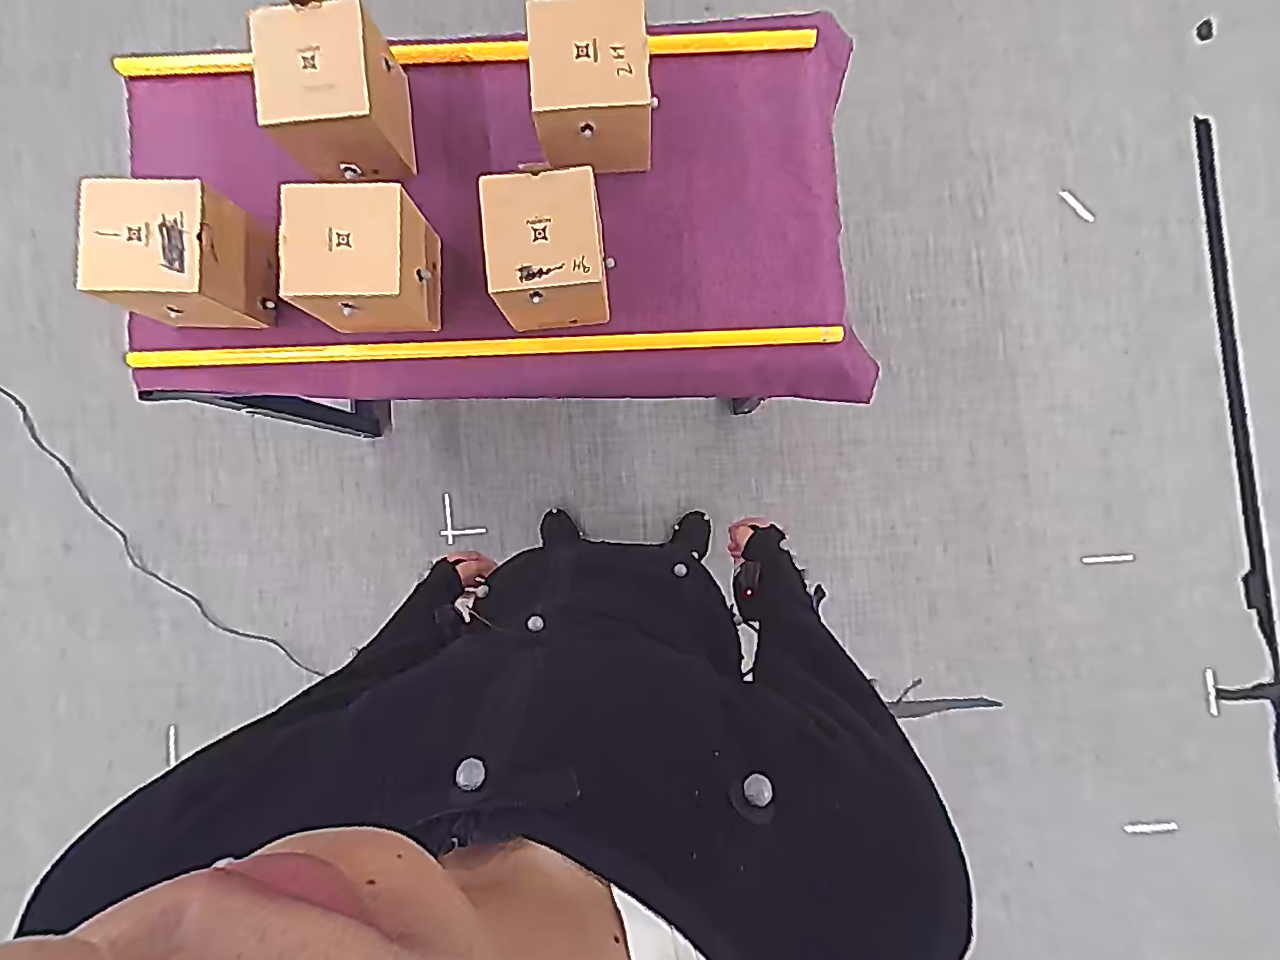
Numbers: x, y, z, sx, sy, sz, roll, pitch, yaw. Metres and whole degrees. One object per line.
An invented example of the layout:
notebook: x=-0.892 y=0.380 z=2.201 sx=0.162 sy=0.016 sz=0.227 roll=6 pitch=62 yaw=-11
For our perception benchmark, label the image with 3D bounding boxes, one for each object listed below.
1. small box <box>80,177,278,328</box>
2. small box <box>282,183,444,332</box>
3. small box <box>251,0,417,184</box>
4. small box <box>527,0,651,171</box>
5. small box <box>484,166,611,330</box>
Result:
small box: x=-0.706 y=-0.345 z=0.849 sx=0.179 sy=0.176 sz=0.168 roll=1 pitch=88 yaw=0
small box: x=-0.422 y=-0.340 z=0.850 sx=0.179 sy=0.176 sz=0.168 roll=0 pitch=88 yaw=1
small box: x=-0.474 y=-0.606 z=0.859 sx=0.168 sy=0.176 sz=0.179 roll=-5 pitch=89 yaw=1
small box: x=-0.073 y=-0.615 z=0.857 sx=0.179 sy=0.176 sz=0.168 roll=-3 pitch=90 yaw=0
small box: x=-0.138 y=-0.354 z=0.849 sx=0.168 sy=0.176 sz=0.179 roll=-5 pitch=86 yaw=0
